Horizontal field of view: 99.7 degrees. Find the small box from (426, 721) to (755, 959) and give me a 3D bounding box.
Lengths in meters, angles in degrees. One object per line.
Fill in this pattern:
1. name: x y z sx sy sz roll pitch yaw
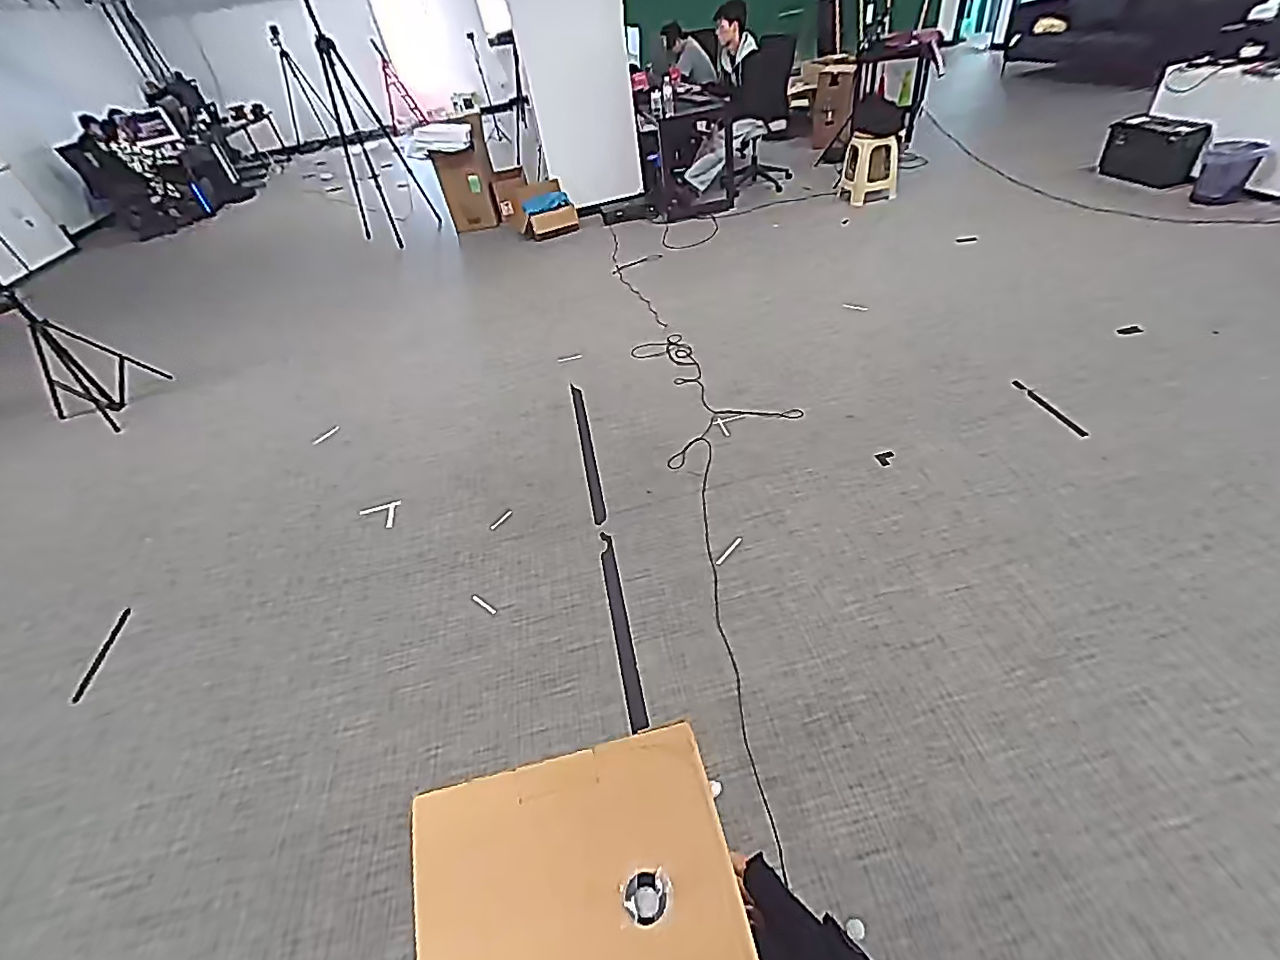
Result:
1. small box: -0.024 0.279 0.359 0.168 0.179 0.176 -13 60 -5
